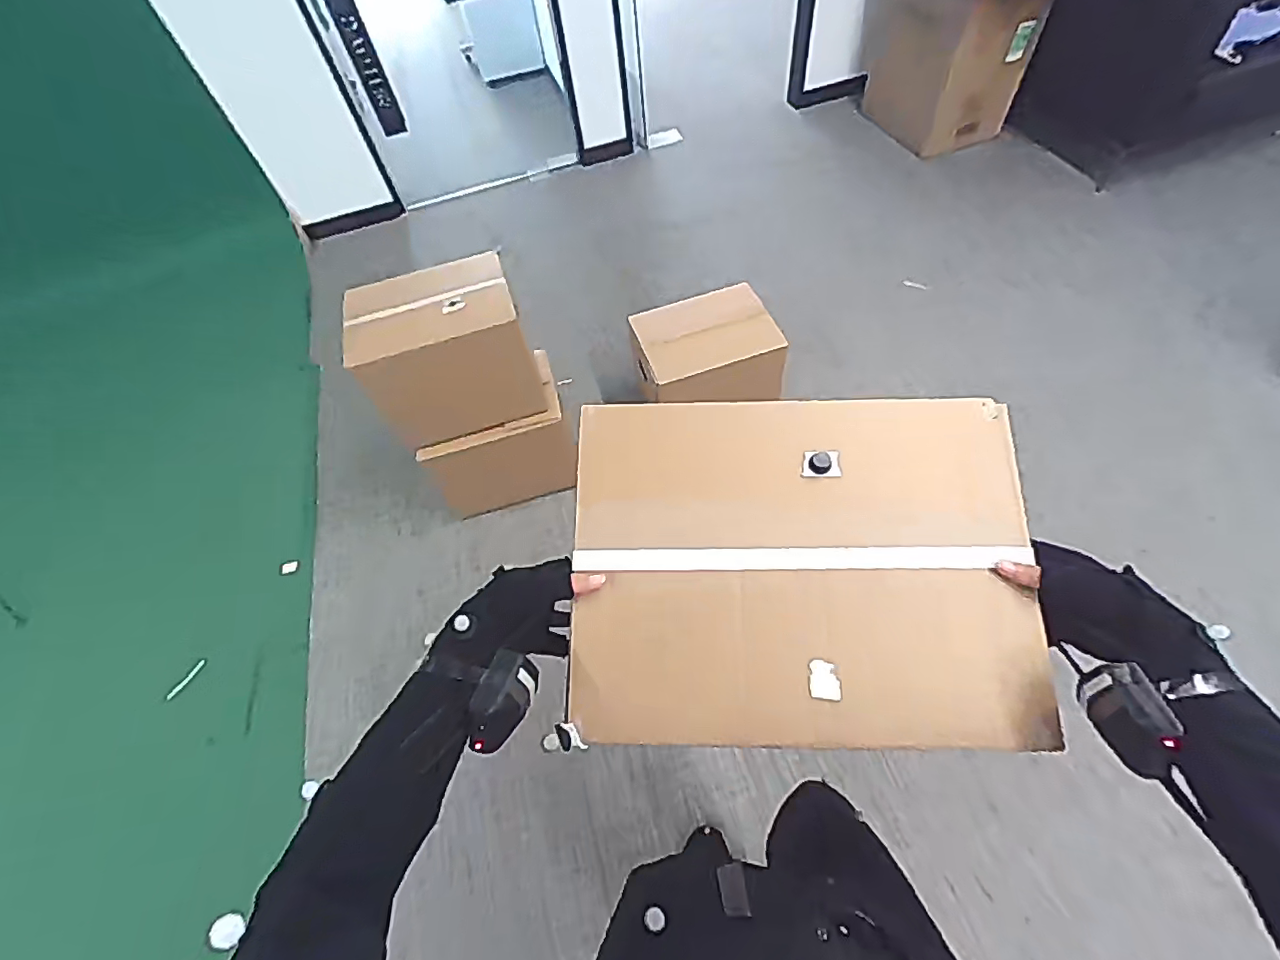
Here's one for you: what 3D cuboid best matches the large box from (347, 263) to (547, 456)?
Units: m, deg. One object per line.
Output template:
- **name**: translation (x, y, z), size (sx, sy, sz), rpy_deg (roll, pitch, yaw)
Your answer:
- **large box**: translation (-0.500, -0.316, 1.440), size (0.408, 0.320, 0.320), rpy_deg (-17, 53, -6)
